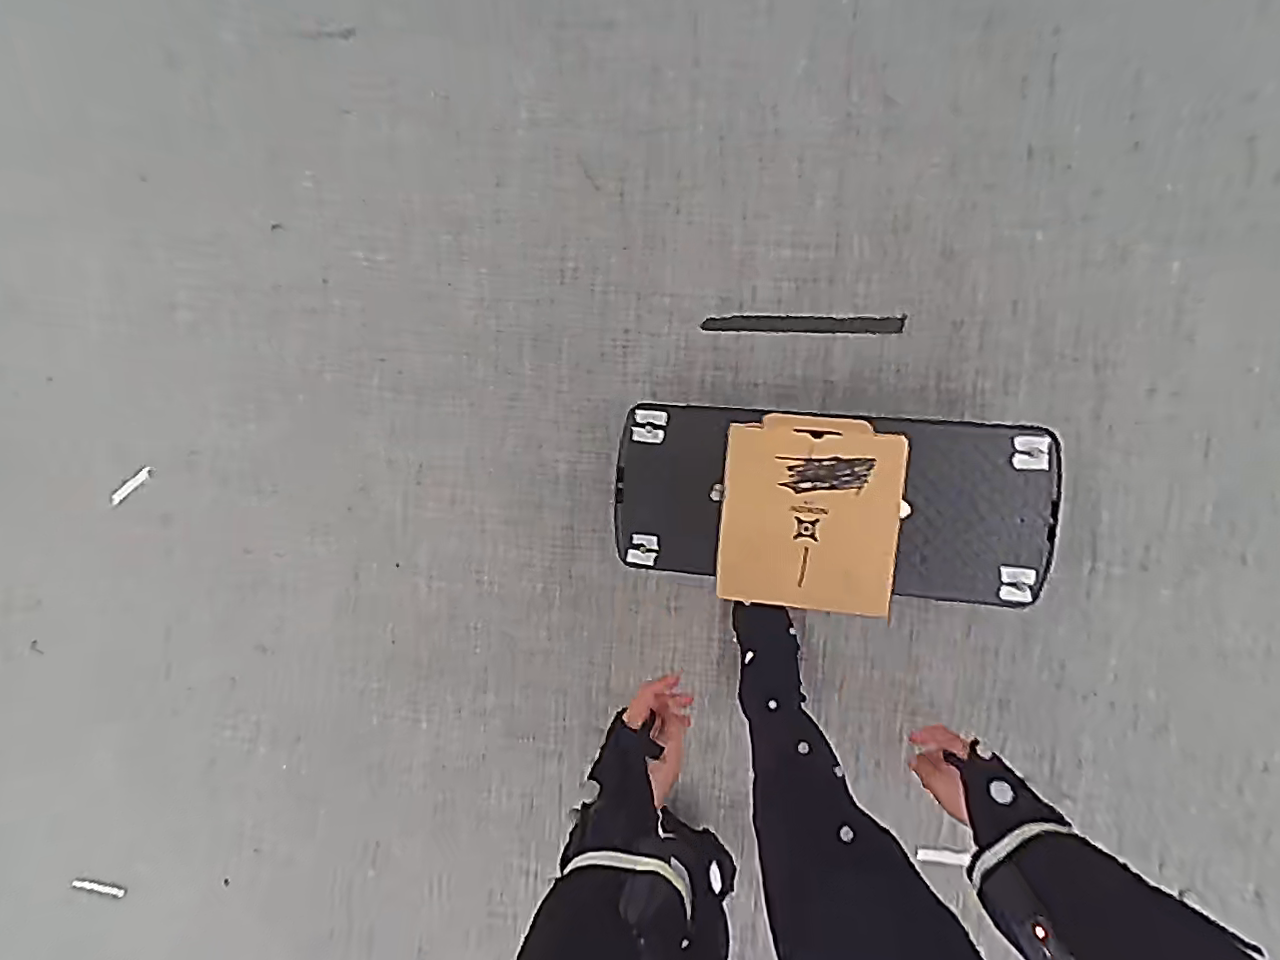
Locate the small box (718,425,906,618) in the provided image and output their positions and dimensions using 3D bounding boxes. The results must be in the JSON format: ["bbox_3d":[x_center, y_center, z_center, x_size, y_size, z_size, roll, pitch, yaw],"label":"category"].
[{"bbox_3d":[0.177,0.036,0.607,0.168,0.176,0.179,6,94,9],"label":"small box"}]

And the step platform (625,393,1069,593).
[{"bbox_3d":[0.315,0.011,0.926,0.684,0.204,0.286,4,93,9],"label":"step platform"}]
